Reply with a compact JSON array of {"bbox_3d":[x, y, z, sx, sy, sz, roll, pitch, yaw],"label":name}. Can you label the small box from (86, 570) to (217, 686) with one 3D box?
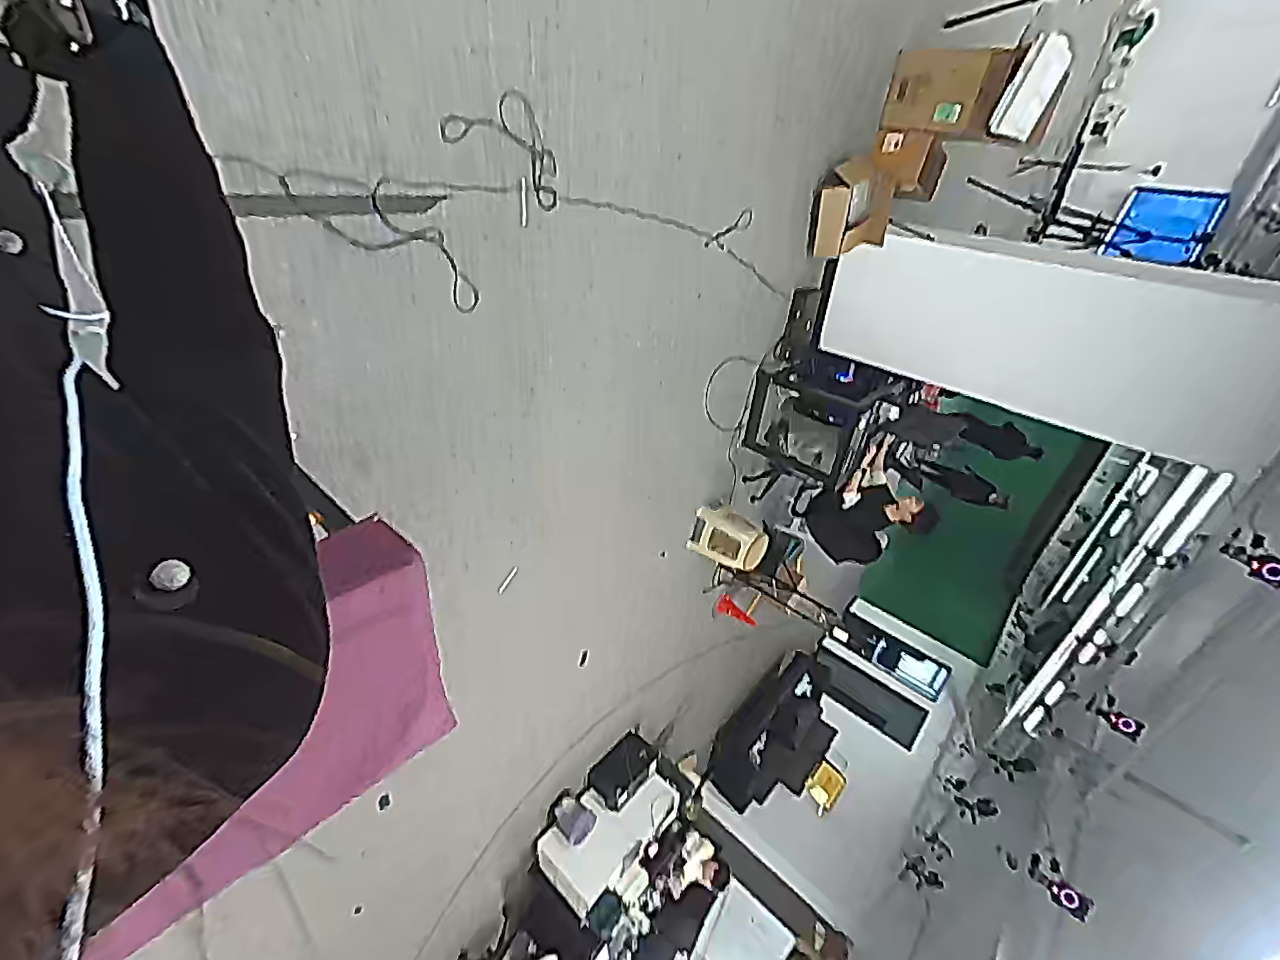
[{"bbox_3d":[-1.183,0.351,1.312,0.179,0.176,0.168,-29,137,-38],"label":"small box"}]
